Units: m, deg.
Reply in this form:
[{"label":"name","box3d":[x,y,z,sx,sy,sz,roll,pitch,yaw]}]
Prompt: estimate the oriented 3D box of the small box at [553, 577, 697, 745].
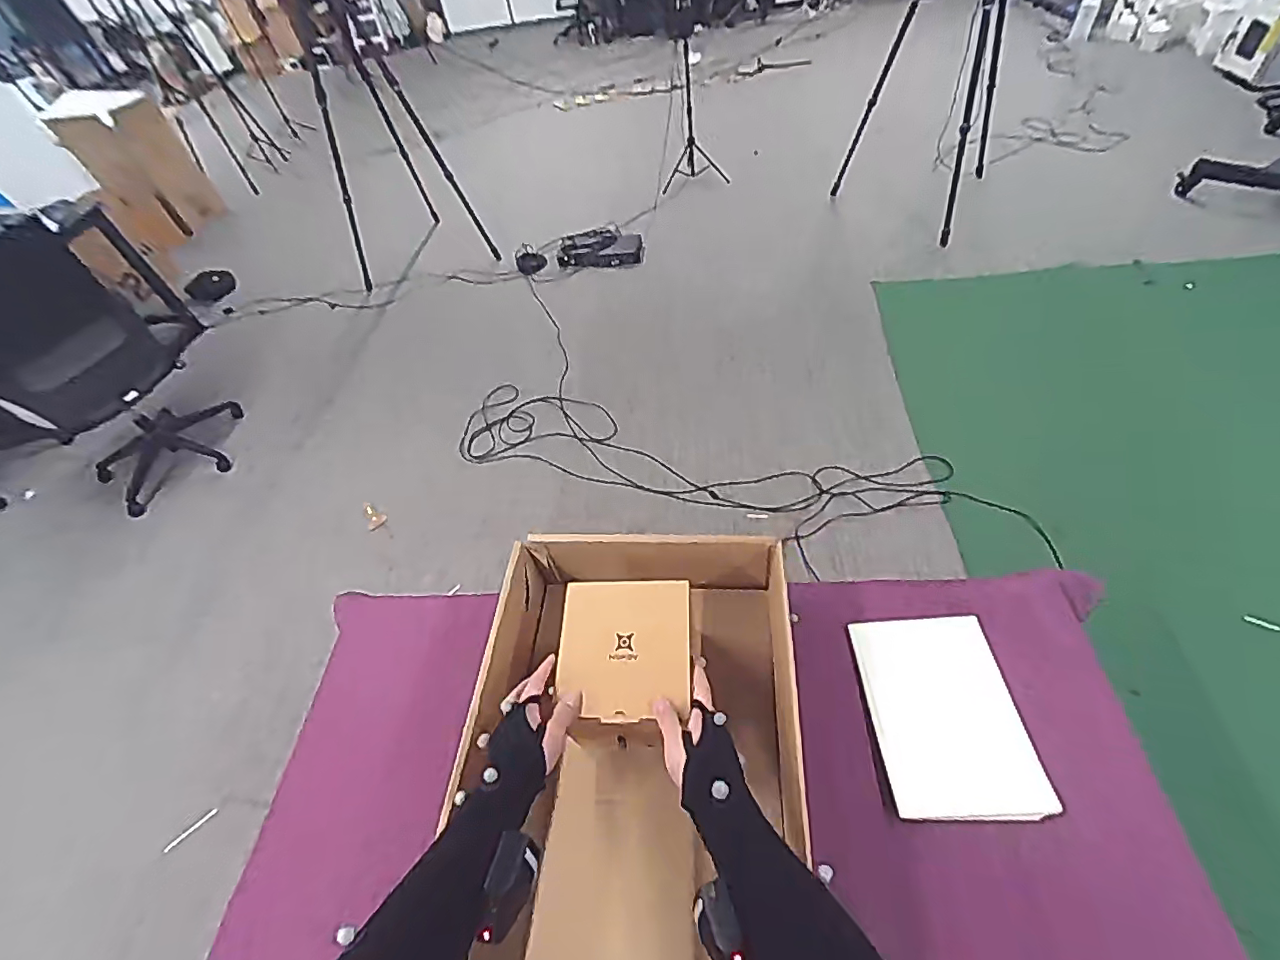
[{"label":"small box","box3d":[-0.010,0.248,0.736,0.168,0.176,0.179,-3,55,7]}]
